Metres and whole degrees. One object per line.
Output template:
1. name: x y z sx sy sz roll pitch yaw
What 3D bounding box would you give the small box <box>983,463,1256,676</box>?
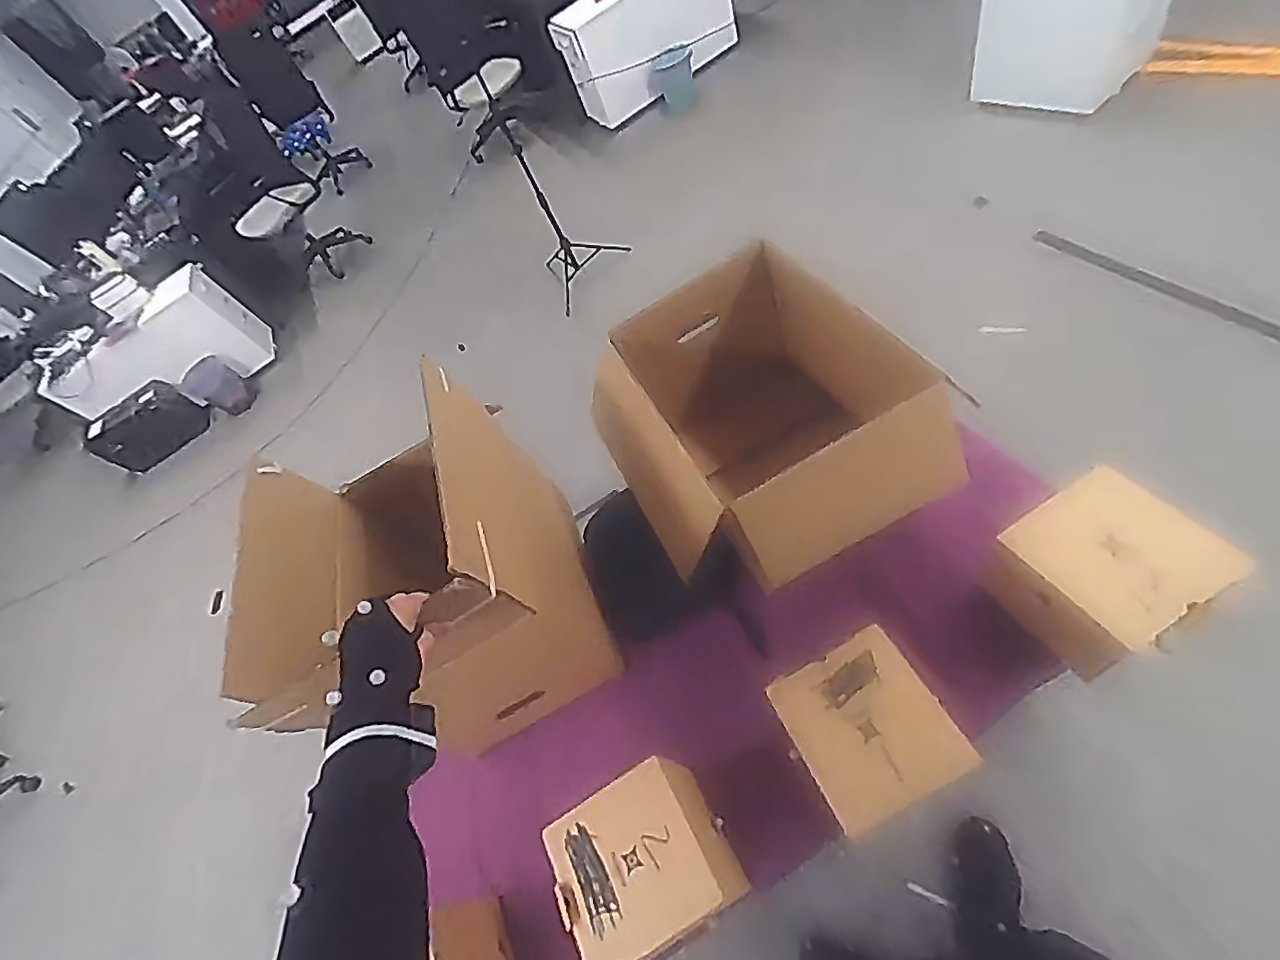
1. small box: 0.574 0.118 0.684 0.168 0.176 0.179 -35 52 1

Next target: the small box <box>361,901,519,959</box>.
1. small box: -0.267 0.684 0.694 0.179 0.176 0.168 -36 52 -3
